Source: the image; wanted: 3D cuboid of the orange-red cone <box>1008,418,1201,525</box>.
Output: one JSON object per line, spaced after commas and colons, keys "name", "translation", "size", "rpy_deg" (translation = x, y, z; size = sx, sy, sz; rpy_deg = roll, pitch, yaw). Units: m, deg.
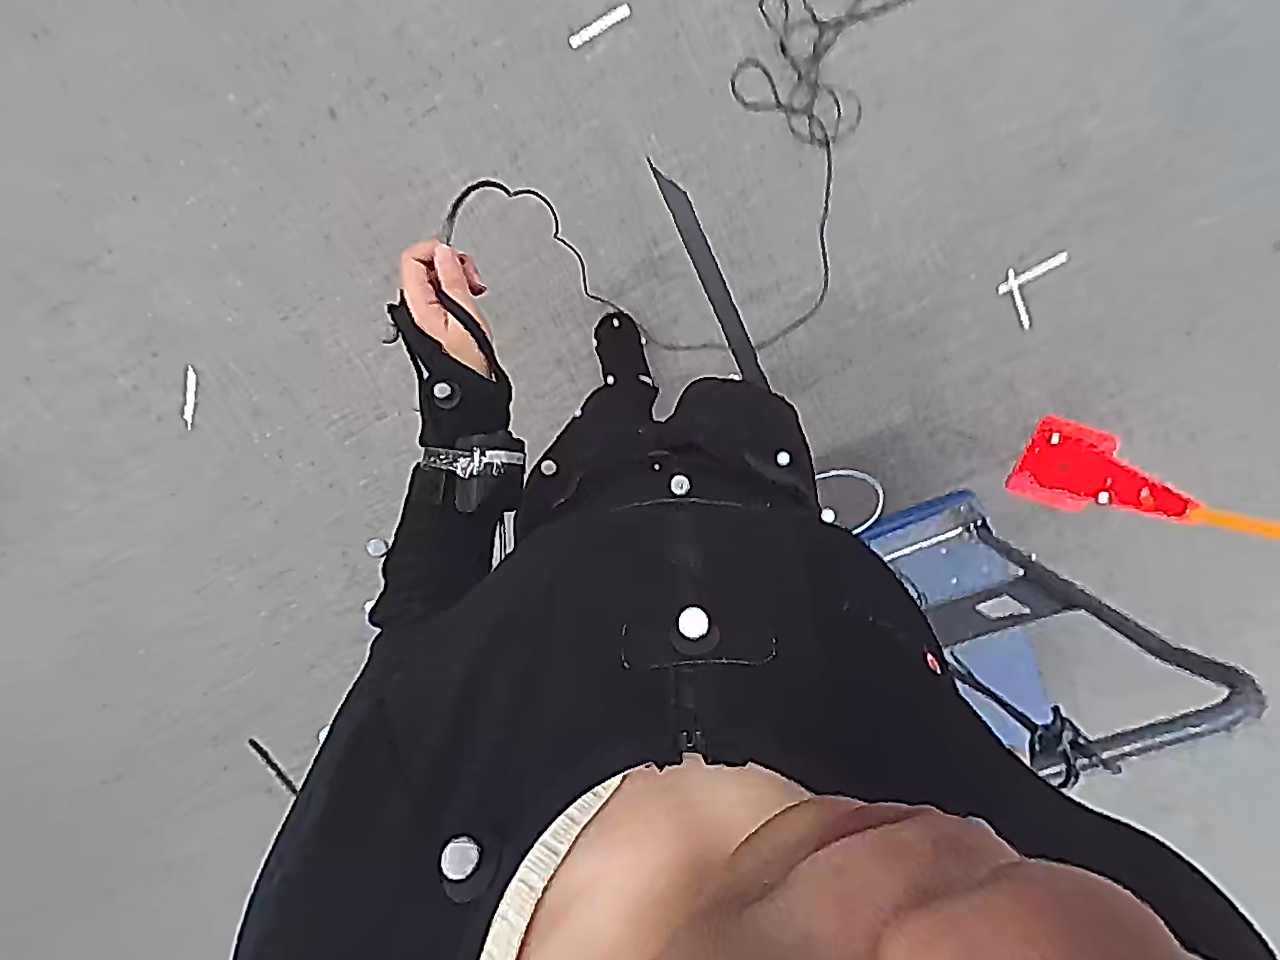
{"name": "orange-red cone", "translation": [1.013, 0.017, 1.149], "size": [0.198, 0.360, 0.199], "rpy_deg": [19, 108, -2]}
